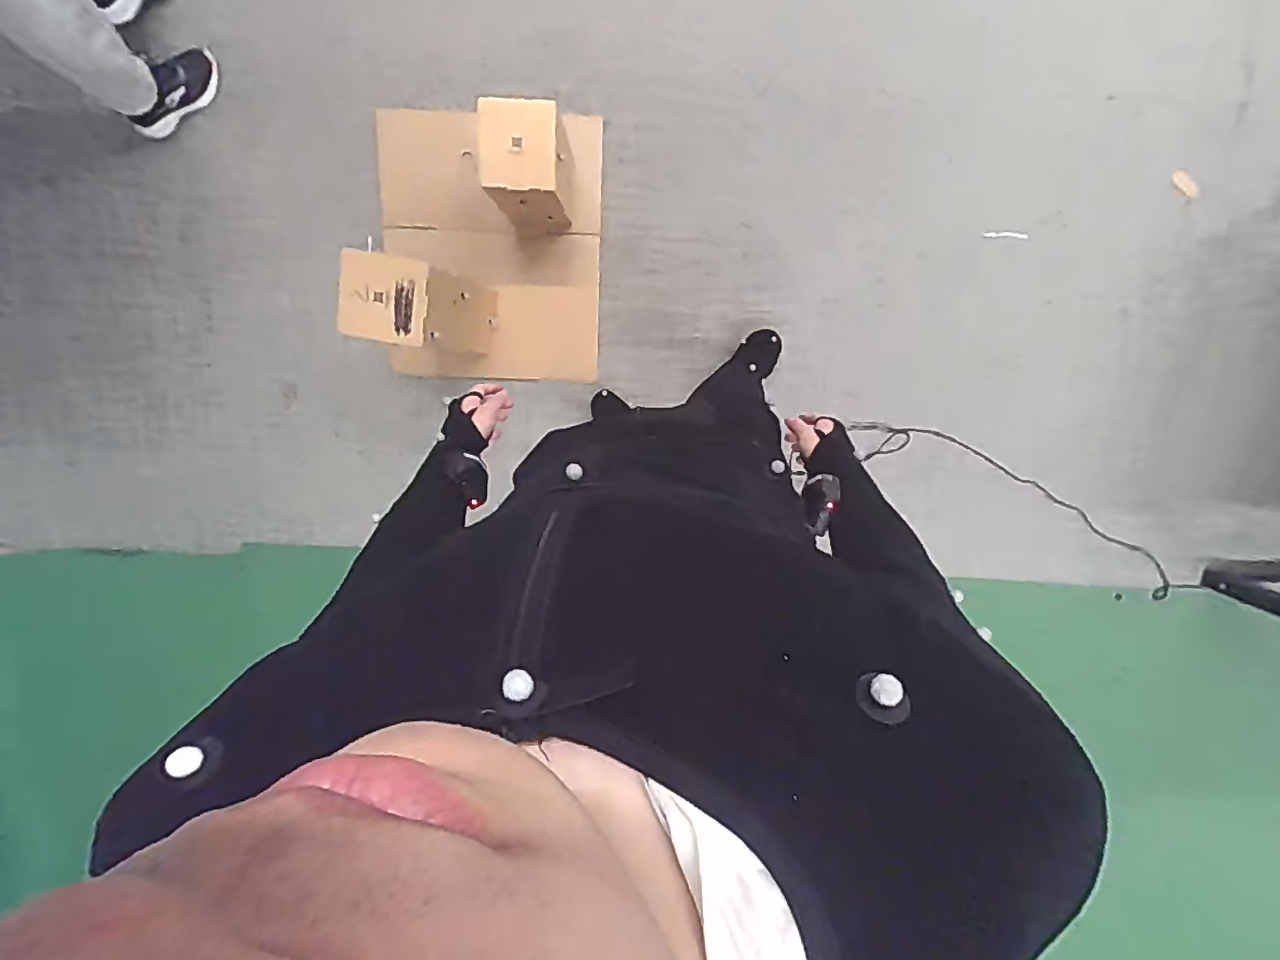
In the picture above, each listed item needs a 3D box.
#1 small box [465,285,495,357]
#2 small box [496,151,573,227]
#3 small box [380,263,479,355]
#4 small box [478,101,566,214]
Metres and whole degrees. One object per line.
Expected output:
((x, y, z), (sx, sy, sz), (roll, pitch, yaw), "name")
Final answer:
((-0.500, -0.437, 1.461), (0.168, 0.176, 0.179), (11, 102, 0), "small box")
((-0.267, -0.759, 1.385), (0.168, 0.176, 0.179), (3, 103, 0), "small box")
((-0.498, -0.404, 1.299), (0.168, 0.176, 0.179), (10, 103, 0), "small box")
((-0.263, -0.723, 1.228), (0.168, 0.176, 0.179), (2, 104, 0), "small box")
